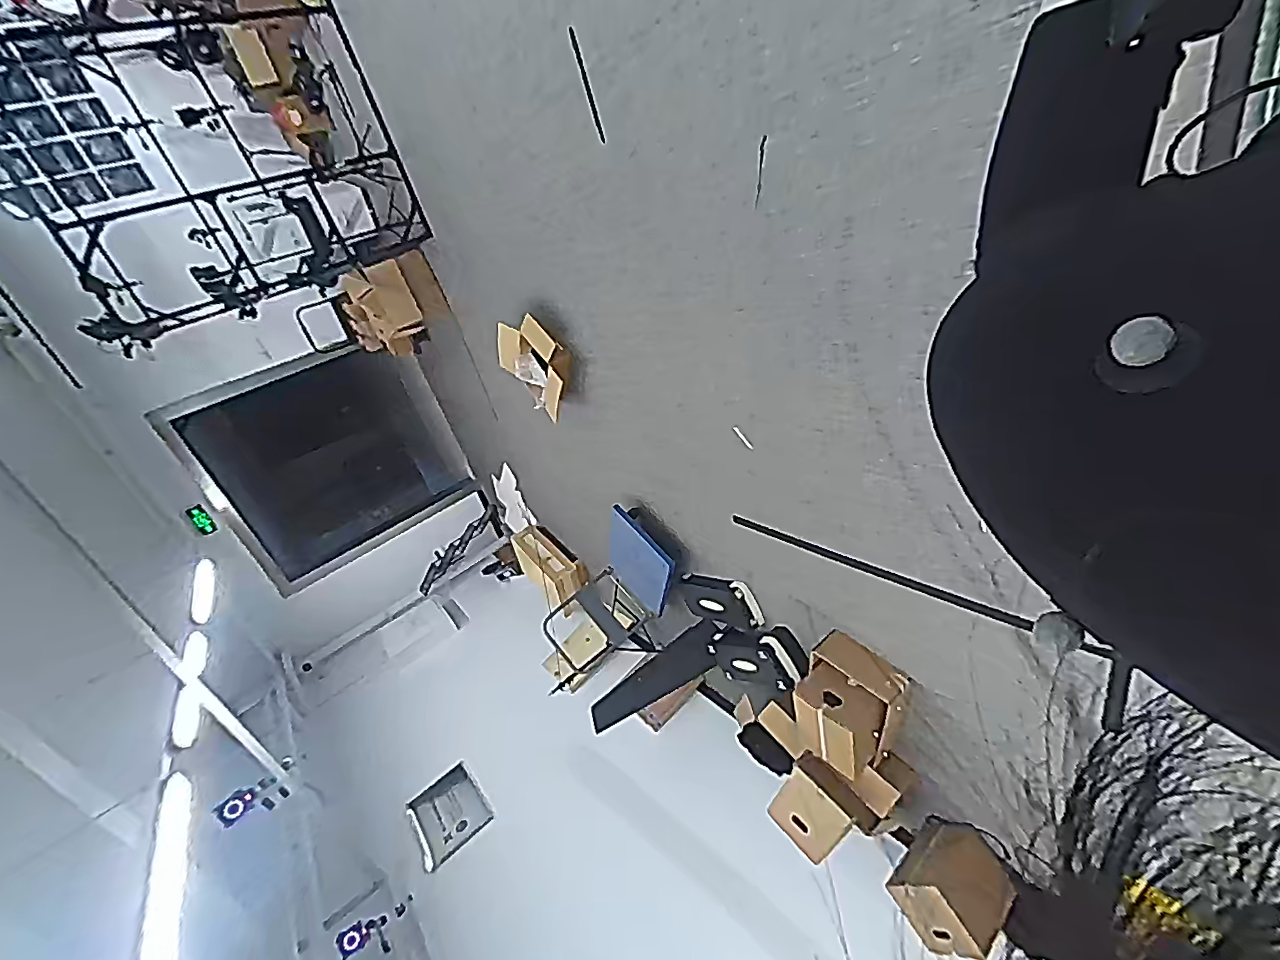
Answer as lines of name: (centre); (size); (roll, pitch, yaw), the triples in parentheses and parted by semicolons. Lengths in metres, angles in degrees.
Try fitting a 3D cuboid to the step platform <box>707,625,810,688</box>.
step platform: (0.673, 1.035, 3.202); (0.286, 0.204, 0.684); (57, 153, -1)
